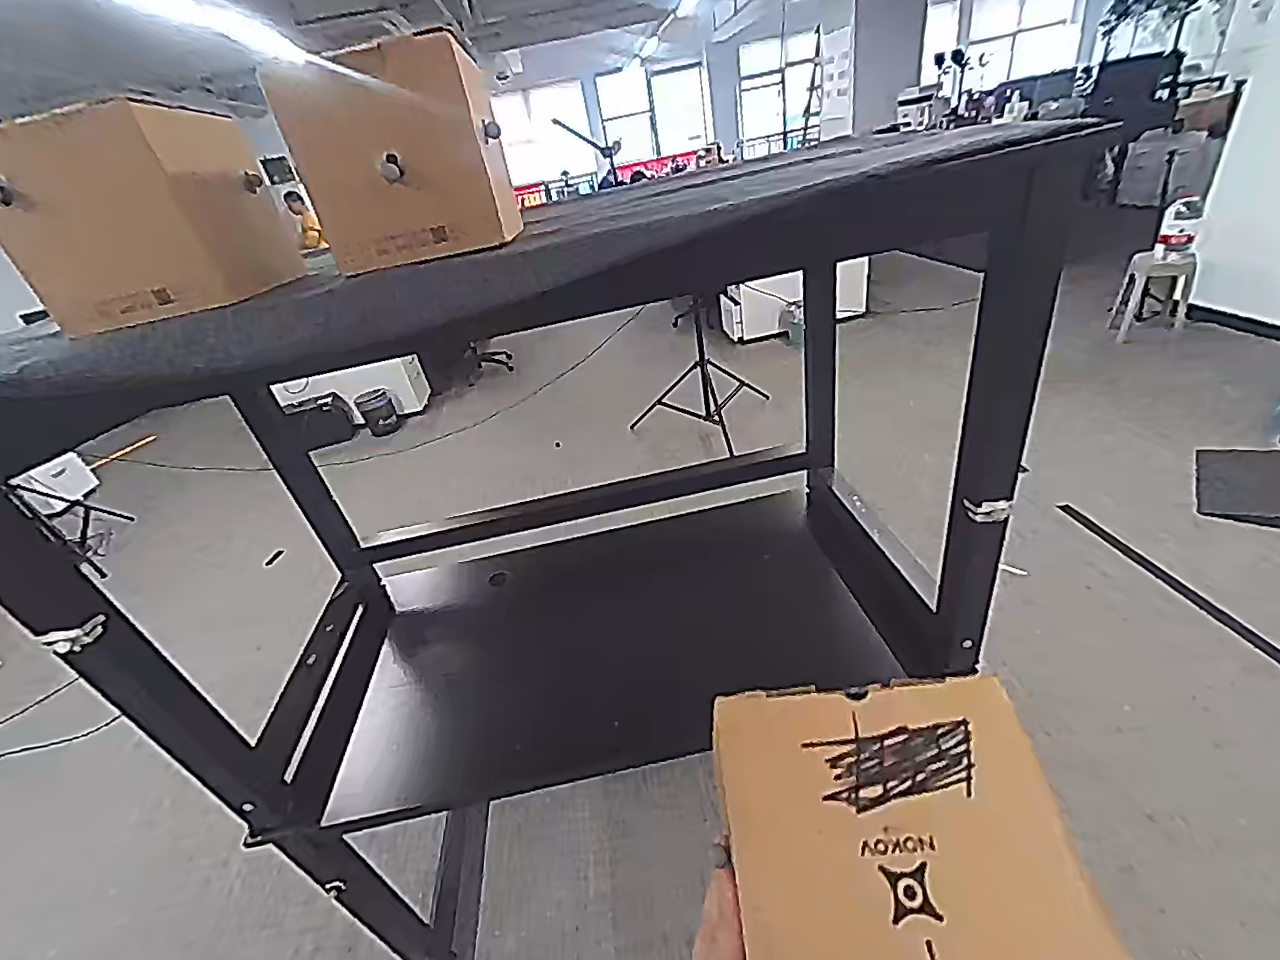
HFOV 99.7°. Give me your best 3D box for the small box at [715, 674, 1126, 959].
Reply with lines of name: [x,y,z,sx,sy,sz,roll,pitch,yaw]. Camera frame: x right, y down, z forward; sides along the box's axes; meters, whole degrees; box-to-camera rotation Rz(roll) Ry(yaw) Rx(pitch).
small box: [0.138,0.237,0.328,0.168,0.176,0.179,-7,52,3]

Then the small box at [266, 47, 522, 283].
small box: [-0.228,-0.312,0.561,0.168,0.176,0.179,-12,30,-1]
